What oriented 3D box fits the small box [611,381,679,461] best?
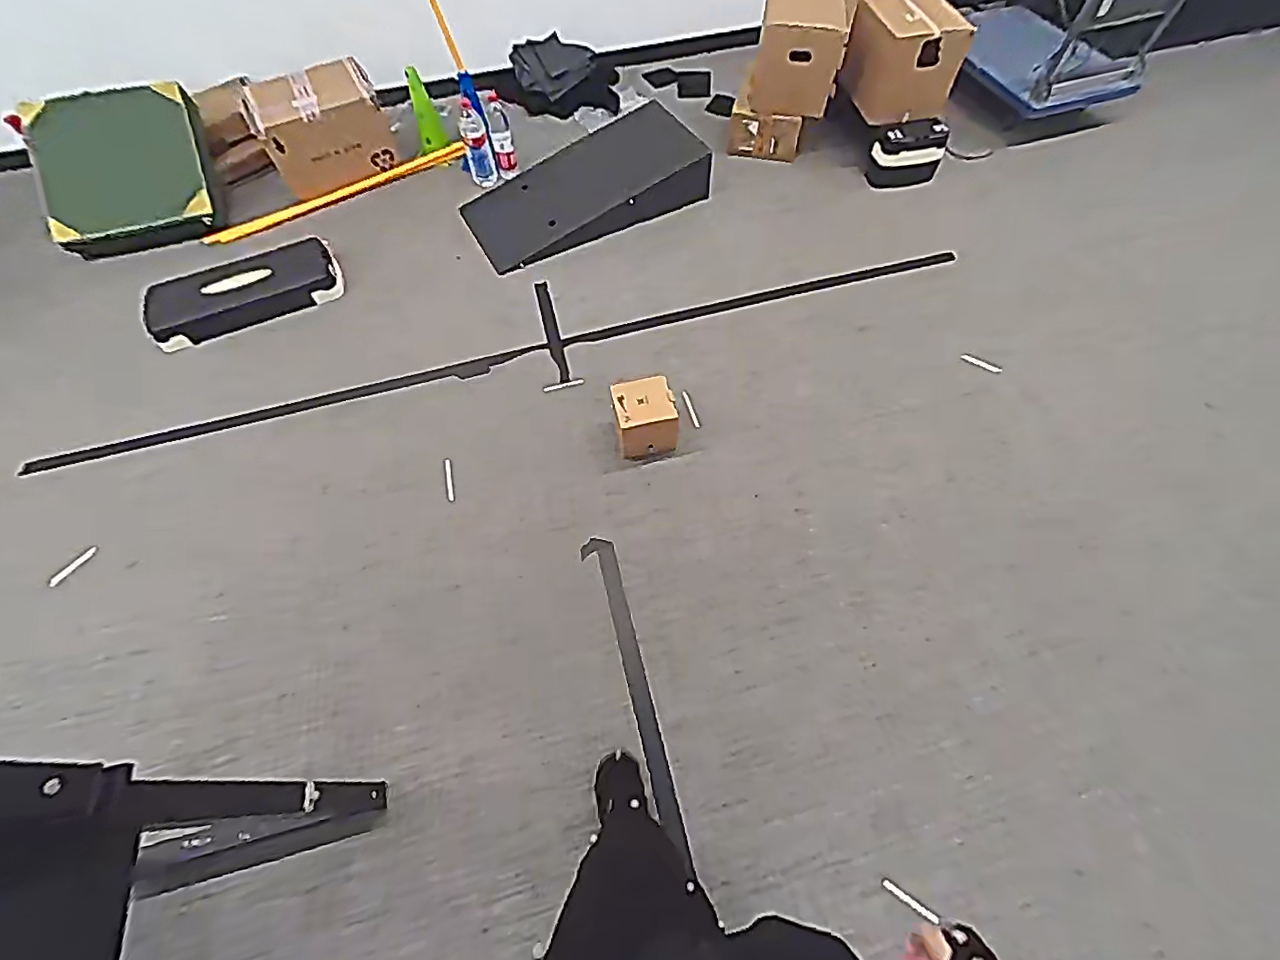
[{"bbox_3d":[0.011,-0.178,1.664,0.179,0.176,0.168,-11,60,-6],"label":"small box"}]
